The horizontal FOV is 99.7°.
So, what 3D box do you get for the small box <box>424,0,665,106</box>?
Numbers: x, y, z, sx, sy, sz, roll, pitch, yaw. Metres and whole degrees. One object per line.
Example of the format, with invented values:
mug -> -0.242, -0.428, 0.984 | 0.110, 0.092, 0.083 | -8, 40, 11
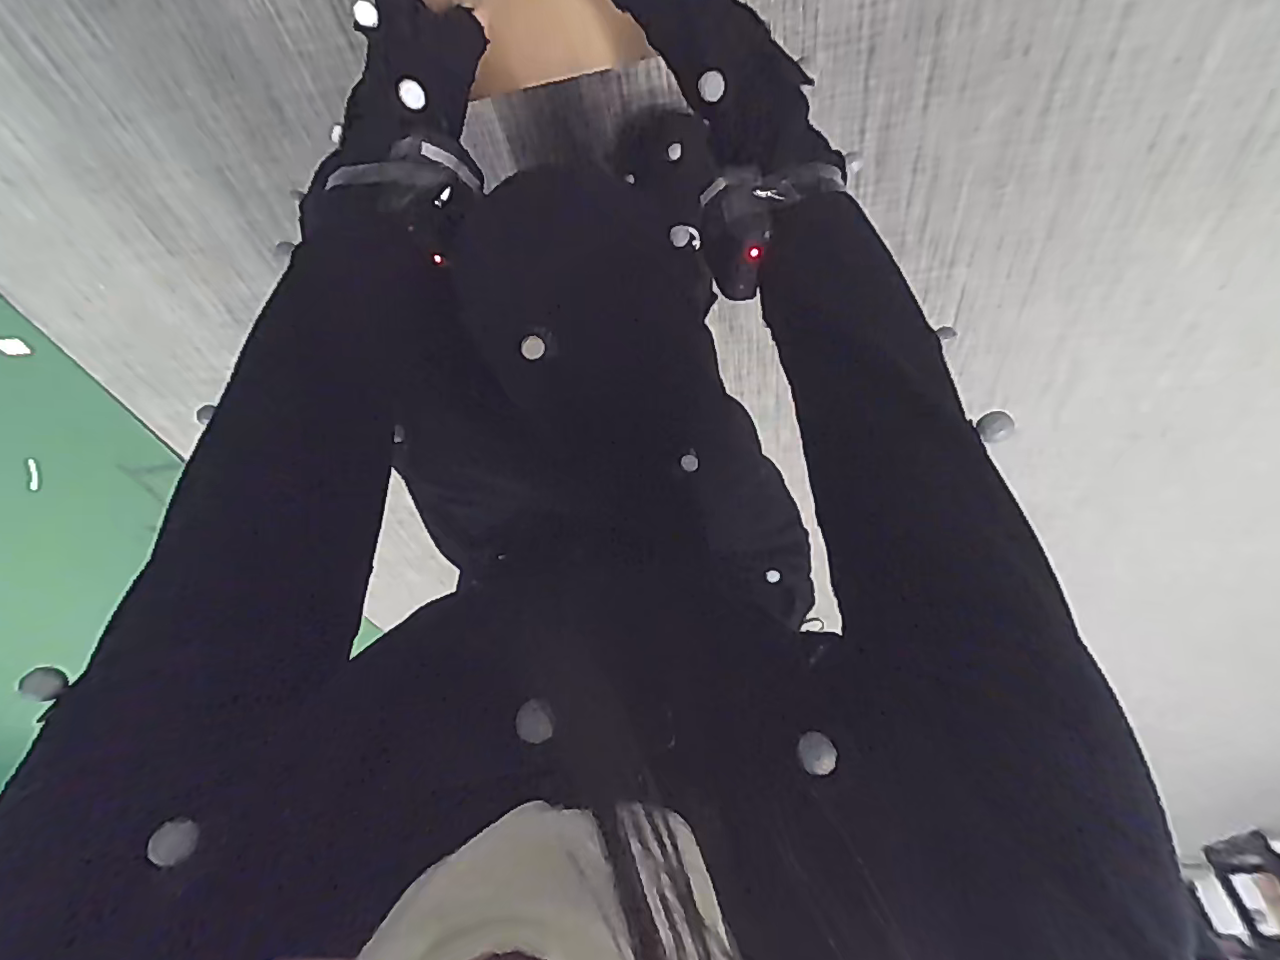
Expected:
small box -> -0.077, -0.437, 0.437 | 0.179, 0.176, 0.168 | -5, 136, 12
